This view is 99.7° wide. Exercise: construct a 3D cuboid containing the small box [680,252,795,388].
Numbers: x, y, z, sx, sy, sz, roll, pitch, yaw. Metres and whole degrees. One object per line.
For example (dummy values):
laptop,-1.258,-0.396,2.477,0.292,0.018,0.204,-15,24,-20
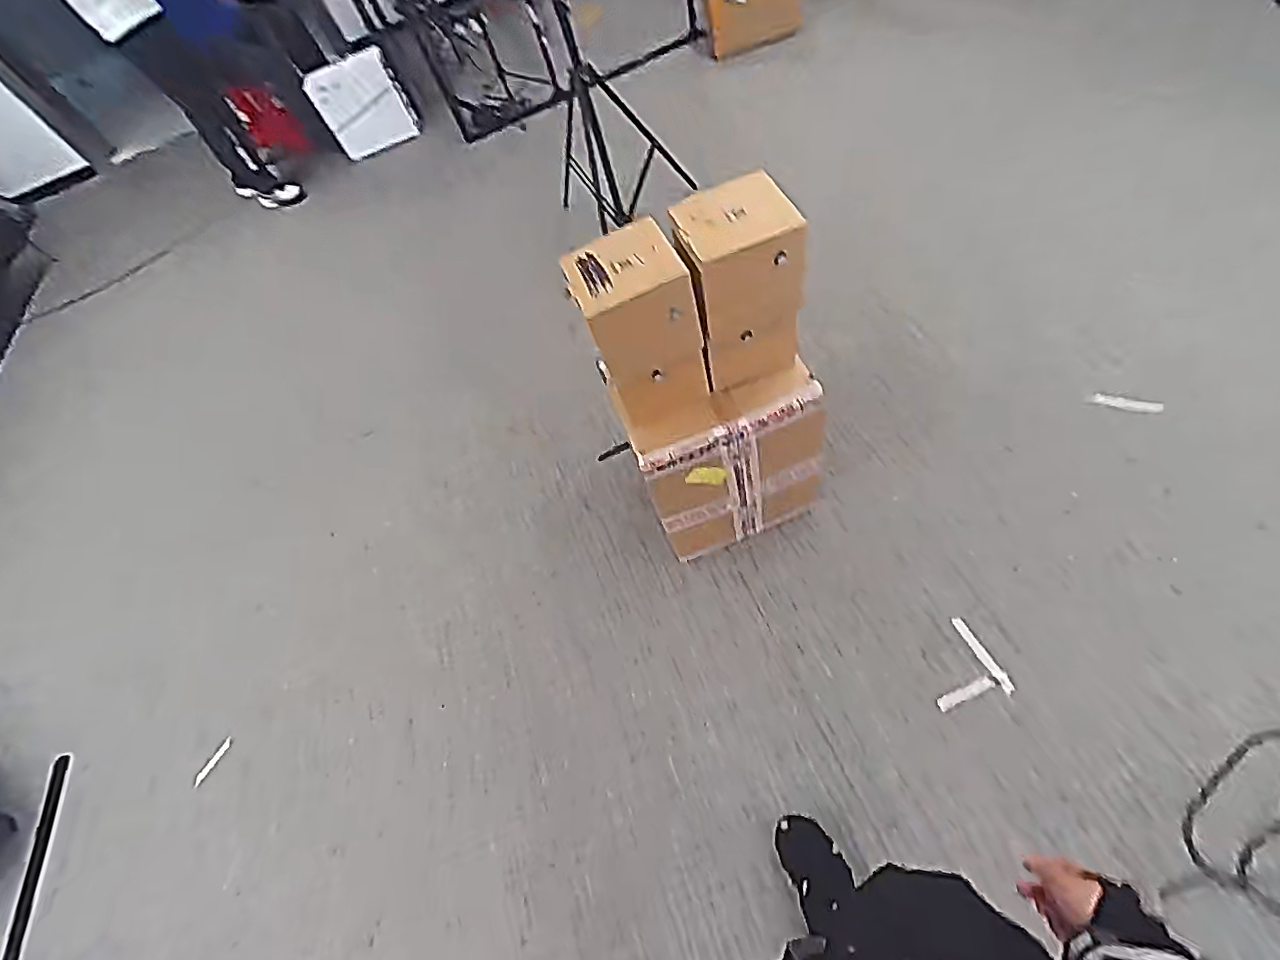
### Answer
small box,0.194,-0.309,1.072,0.179,0.176,0.168,-18,57,2
